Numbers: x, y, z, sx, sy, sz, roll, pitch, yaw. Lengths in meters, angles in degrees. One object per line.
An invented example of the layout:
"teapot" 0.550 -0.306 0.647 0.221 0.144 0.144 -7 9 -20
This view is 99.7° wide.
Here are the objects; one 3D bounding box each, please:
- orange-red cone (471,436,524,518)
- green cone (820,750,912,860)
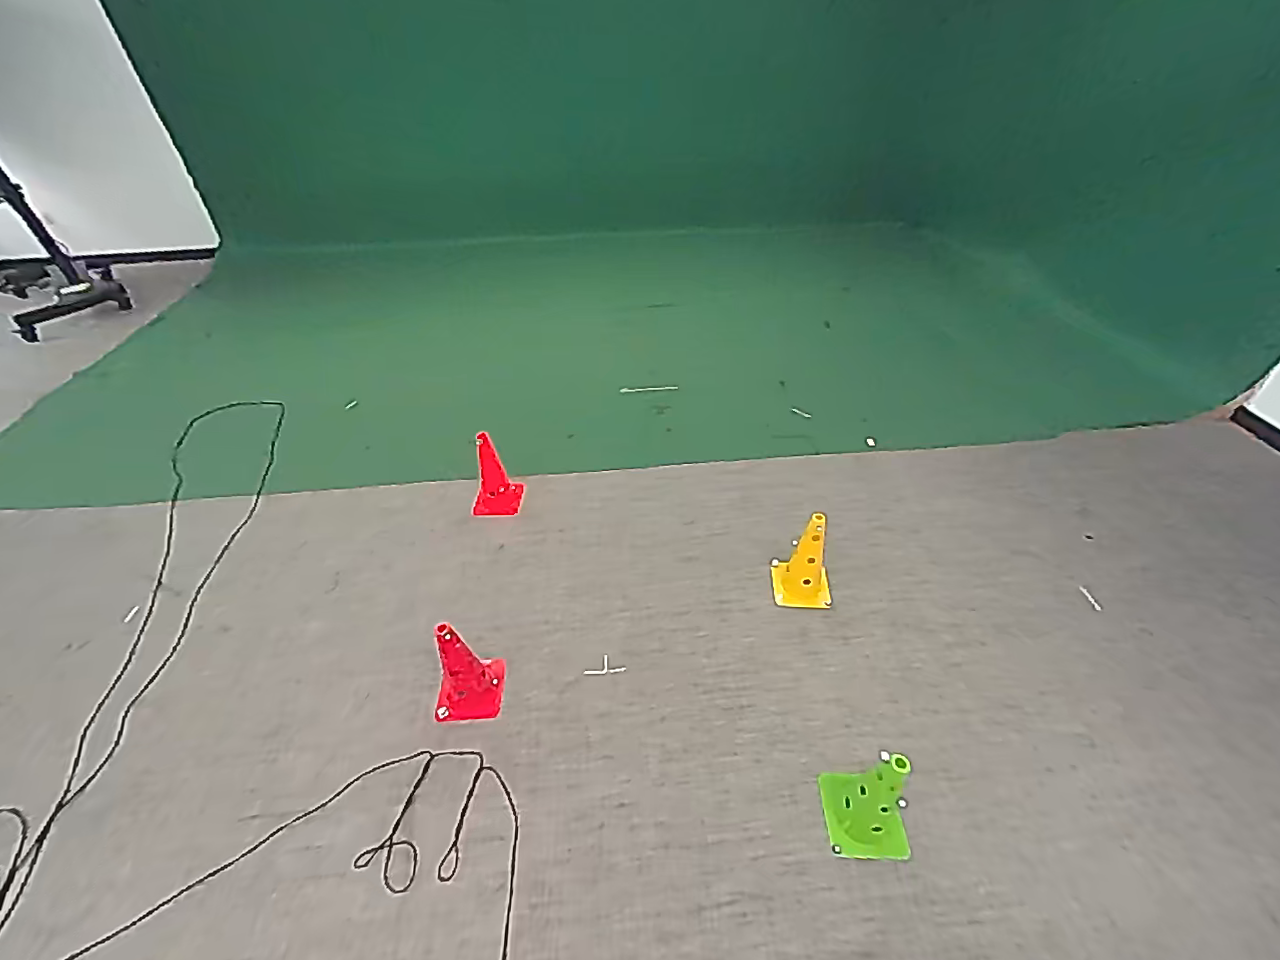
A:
"orange-red cone" -0.626 -0.032 2.246 0.199 0.360 0.198 0 41 4
"green cone" 0.595 0.766 1.330 0.200 0.368 0.202 0 41 1
